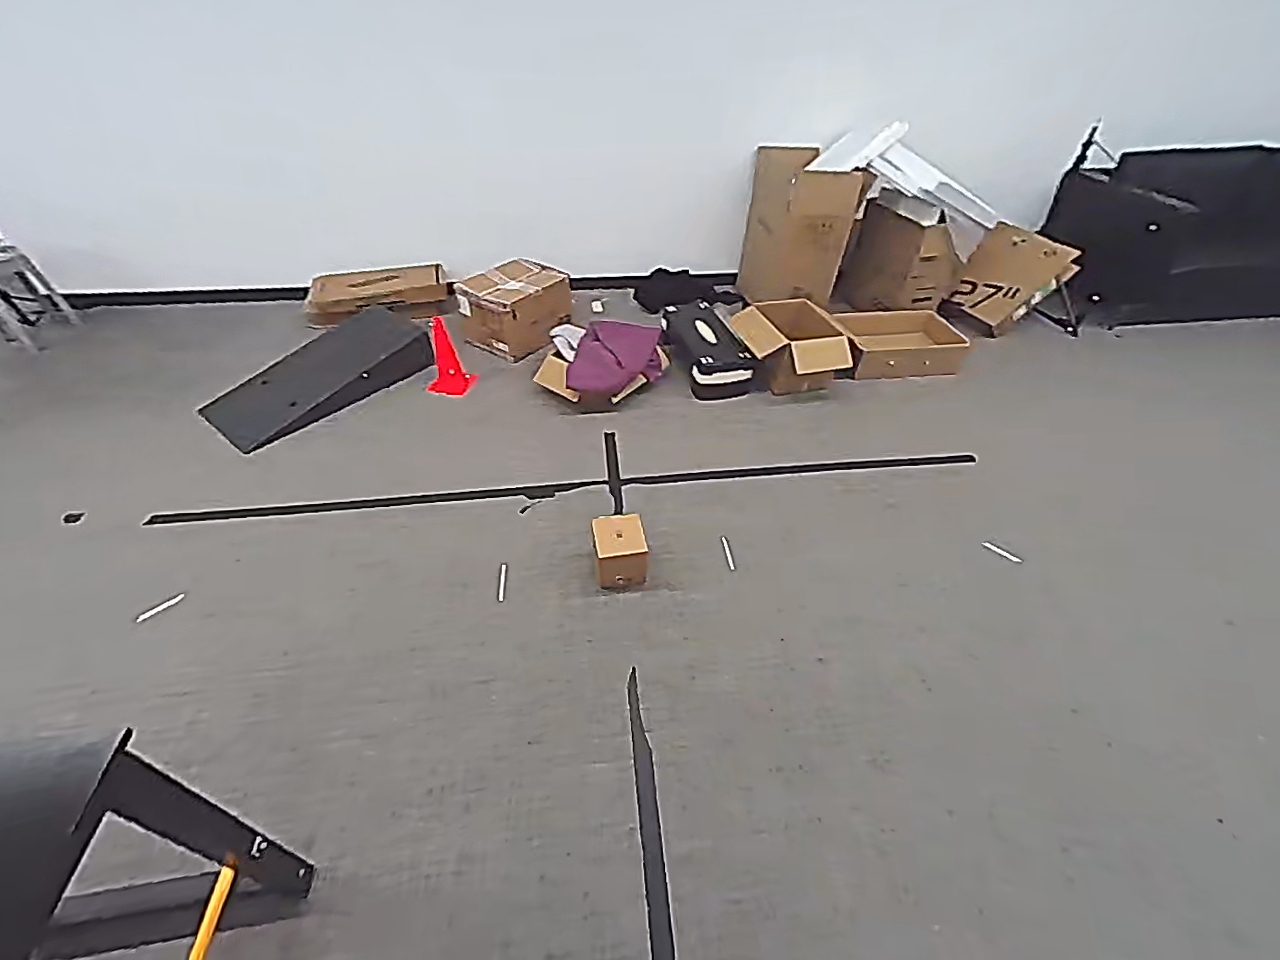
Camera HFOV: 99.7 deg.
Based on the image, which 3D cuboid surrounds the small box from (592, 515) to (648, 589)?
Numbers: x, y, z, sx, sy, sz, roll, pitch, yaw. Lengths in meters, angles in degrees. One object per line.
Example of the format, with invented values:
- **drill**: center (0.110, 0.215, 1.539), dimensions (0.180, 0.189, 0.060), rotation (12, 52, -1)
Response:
- **small box**: center (-0.071, 0.246, 1.849), dimensions (0.168, 0.176, 0.179), rotation (-8, 45, -9)
